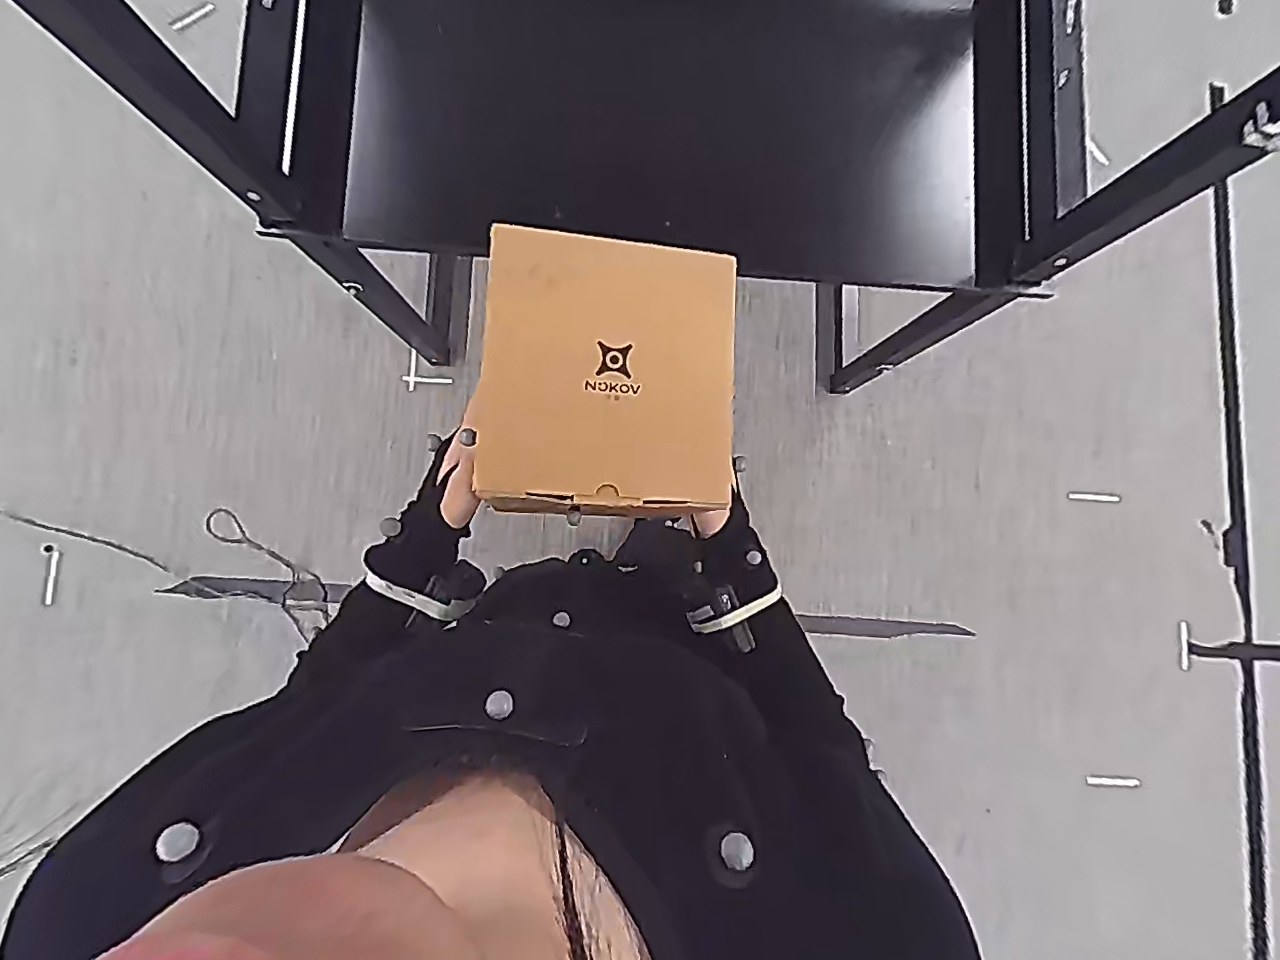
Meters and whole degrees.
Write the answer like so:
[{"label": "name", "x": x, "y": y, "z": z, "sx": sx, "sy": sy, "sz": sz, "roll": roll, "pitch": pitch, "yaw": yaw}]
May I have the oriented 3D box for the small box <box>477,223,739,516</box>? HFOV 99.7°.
[{"label": "small box", "x": -0.030, "y": -0.065, "z": 0.425, "sx": 0.168, "sy": 0.176, "sz": 0.179, "roll": 3, "pitch": 84, "yaw": -10}]
